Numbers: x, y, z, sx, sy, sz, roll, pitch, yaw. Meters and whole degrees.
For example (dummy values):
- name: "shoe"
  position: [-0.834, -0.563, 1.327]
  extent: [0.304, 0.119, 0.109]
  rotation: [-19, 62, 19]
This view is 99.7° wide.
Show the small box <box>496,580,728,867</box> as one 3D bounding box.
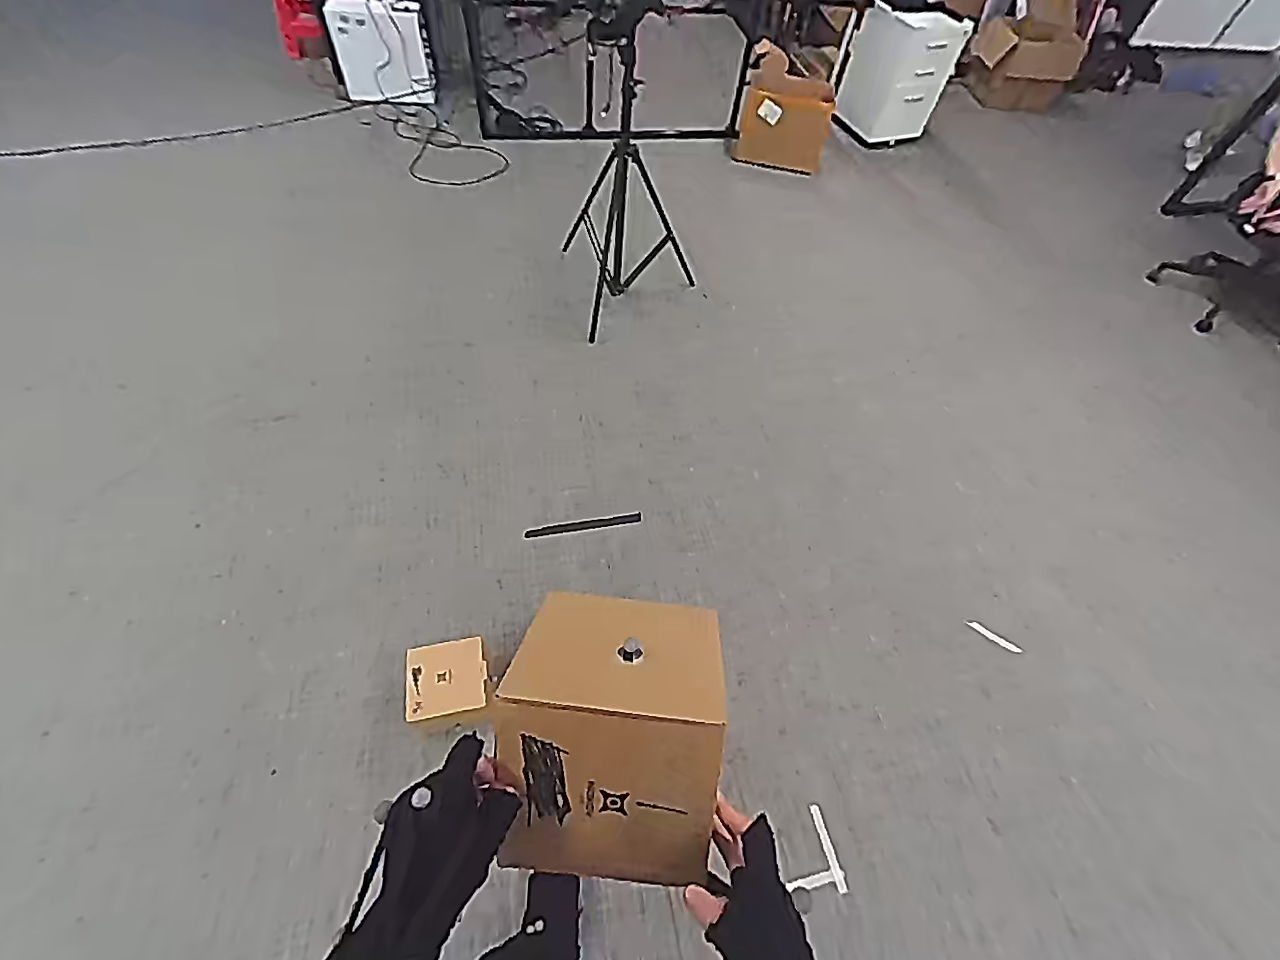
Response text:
- name: "small box"
  position: [-0.020, 0.206, 0.498]
  extent: [0.179, 0.168, 0.176]
  rotation: [5, 17, 3]

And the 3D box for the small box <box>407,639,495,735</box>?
- name: "small box"
  position: [-0.450, 0.502, 1.306]
  extent: [0.179, 0.176, 0.168]
  rotation: [-8, 57, -11]
